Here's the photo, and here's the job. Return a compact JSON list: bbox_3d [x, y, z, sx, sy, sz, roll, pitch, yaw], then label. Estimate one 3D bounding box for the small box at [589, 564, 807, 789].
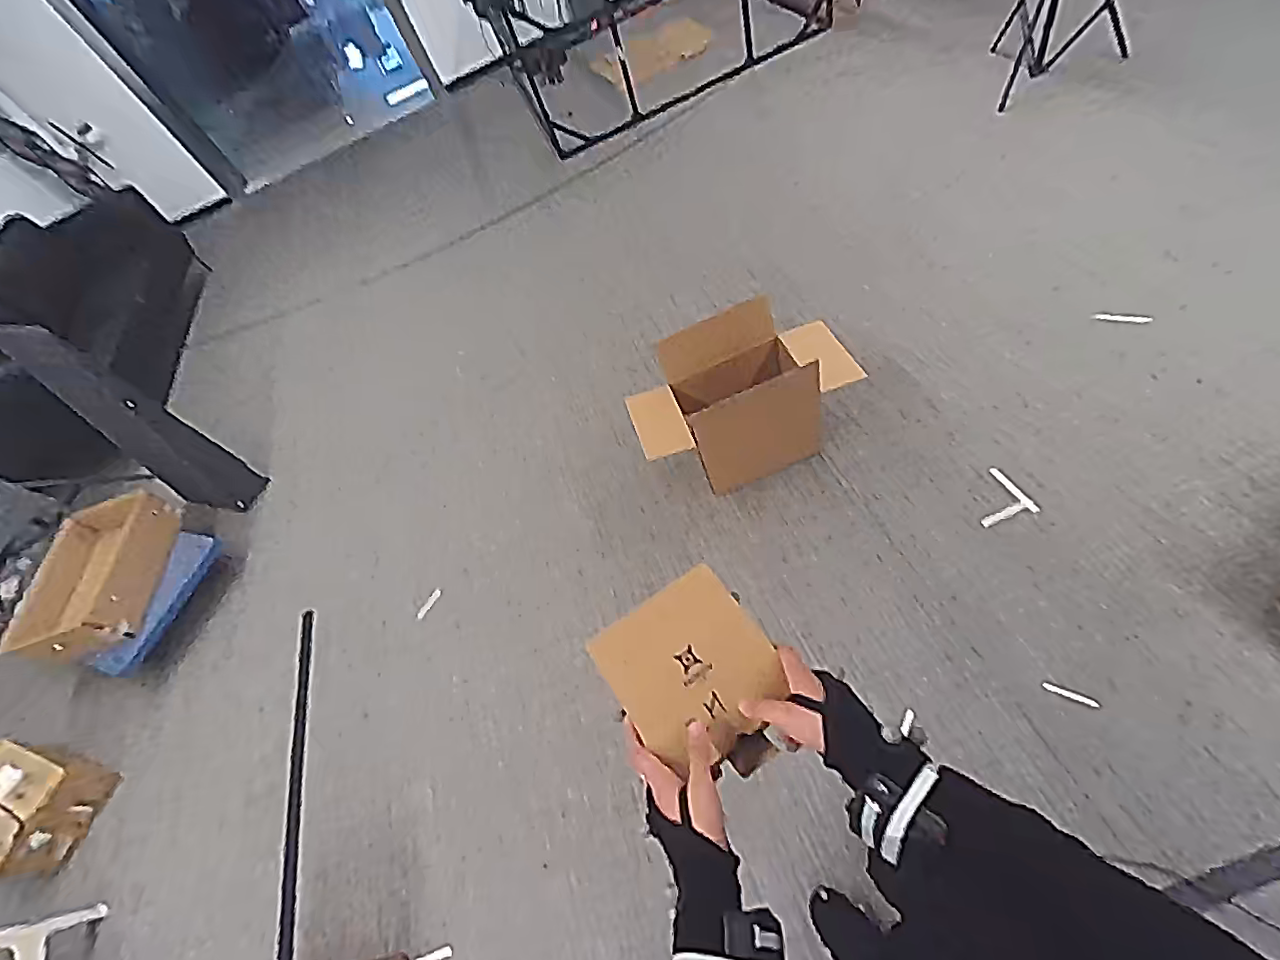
[{"bbox_3d":[0.062,0.236,0.634,0.168,0.176,0.179,-32,62,-12],"label":"small box"}]
